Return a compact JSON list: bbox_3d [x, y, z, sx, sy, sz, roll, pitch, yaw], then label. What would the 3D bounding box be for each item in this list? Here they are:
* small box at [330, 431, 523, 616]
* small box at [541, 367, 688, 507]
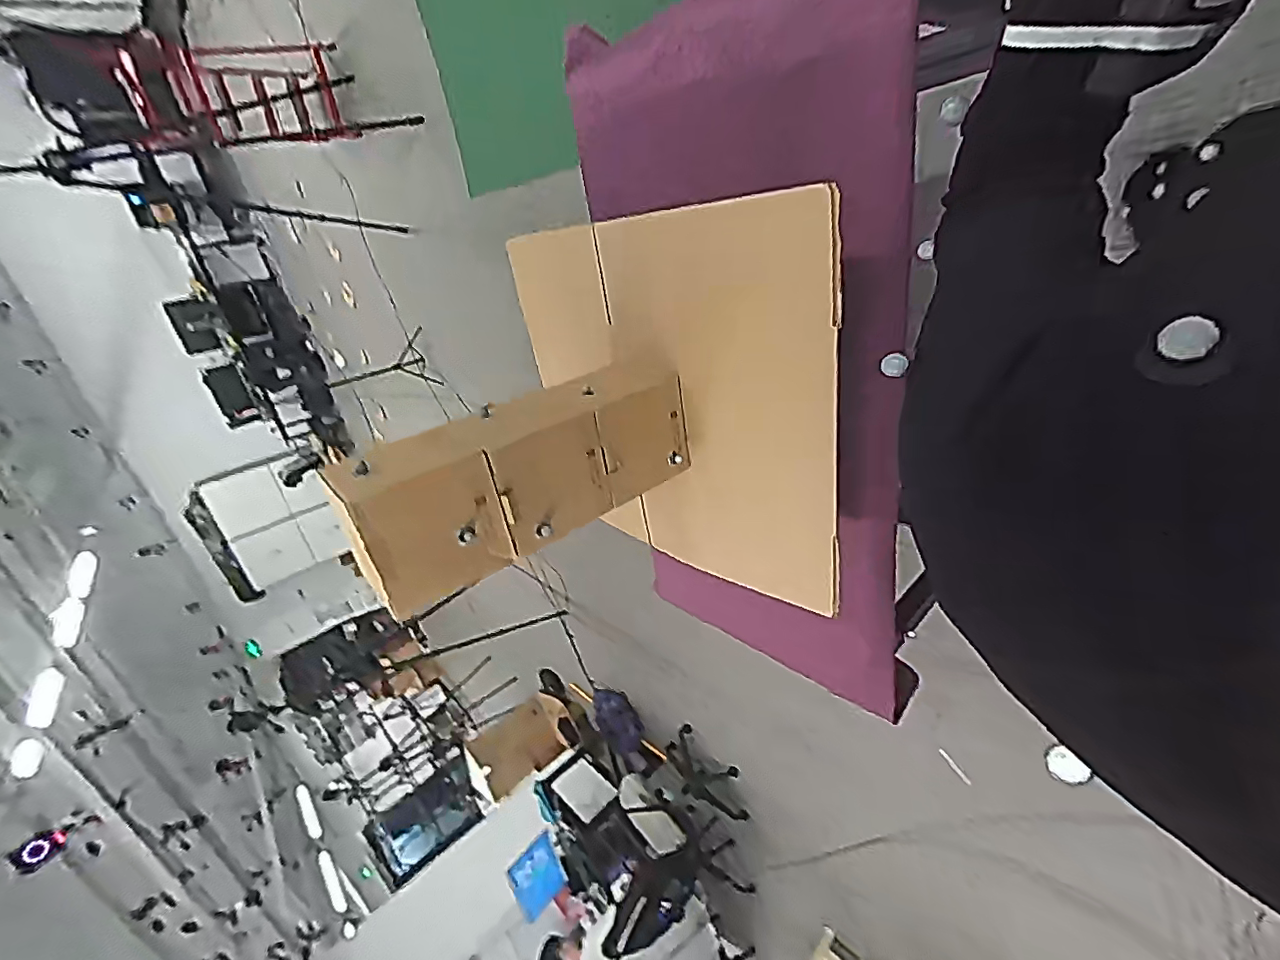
[{"bbox_3d":[-0.282,0.044,0.727,0.179,0.176,0.168,19,128,48],"label":"small box"},{"bbox_3d":[-0.034,-0.082,0.900,0.179,0.176,0.168,21,130,47],"label":"small box"}]
